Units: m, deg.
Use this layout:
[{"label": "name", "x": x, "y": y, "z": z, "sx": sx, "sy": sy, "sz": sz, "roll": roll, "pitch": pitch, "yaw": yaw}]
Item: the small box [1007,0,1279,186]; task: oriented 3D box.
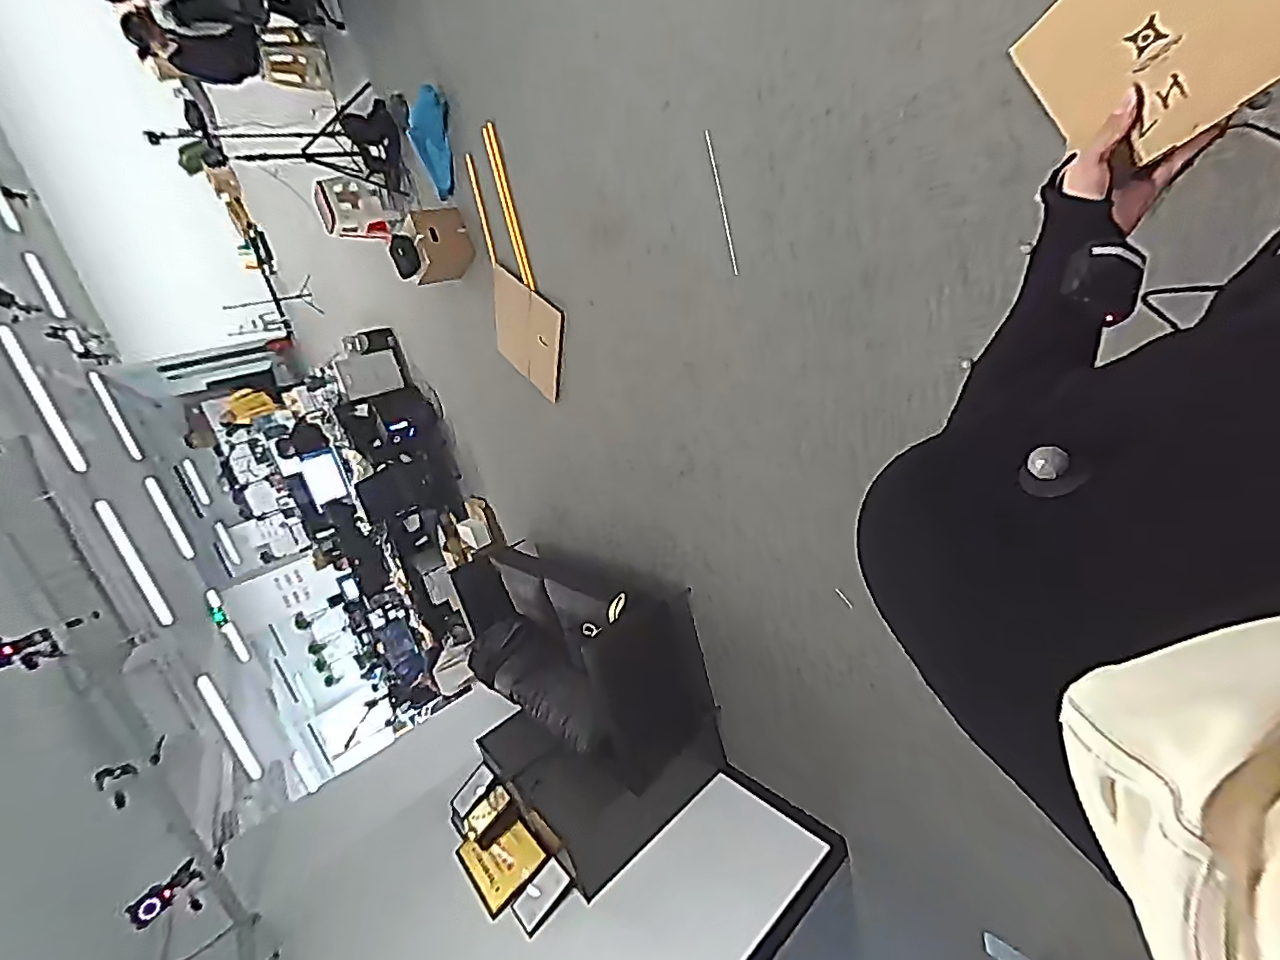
[{"label": "small box", "x": 0.497, "y": -0.419, "z": 0.492, "sx": 0.179, "sy": 0.176, "sz": 0.168, "roll": 55, "pitch": 161, "yaw": -1}]
